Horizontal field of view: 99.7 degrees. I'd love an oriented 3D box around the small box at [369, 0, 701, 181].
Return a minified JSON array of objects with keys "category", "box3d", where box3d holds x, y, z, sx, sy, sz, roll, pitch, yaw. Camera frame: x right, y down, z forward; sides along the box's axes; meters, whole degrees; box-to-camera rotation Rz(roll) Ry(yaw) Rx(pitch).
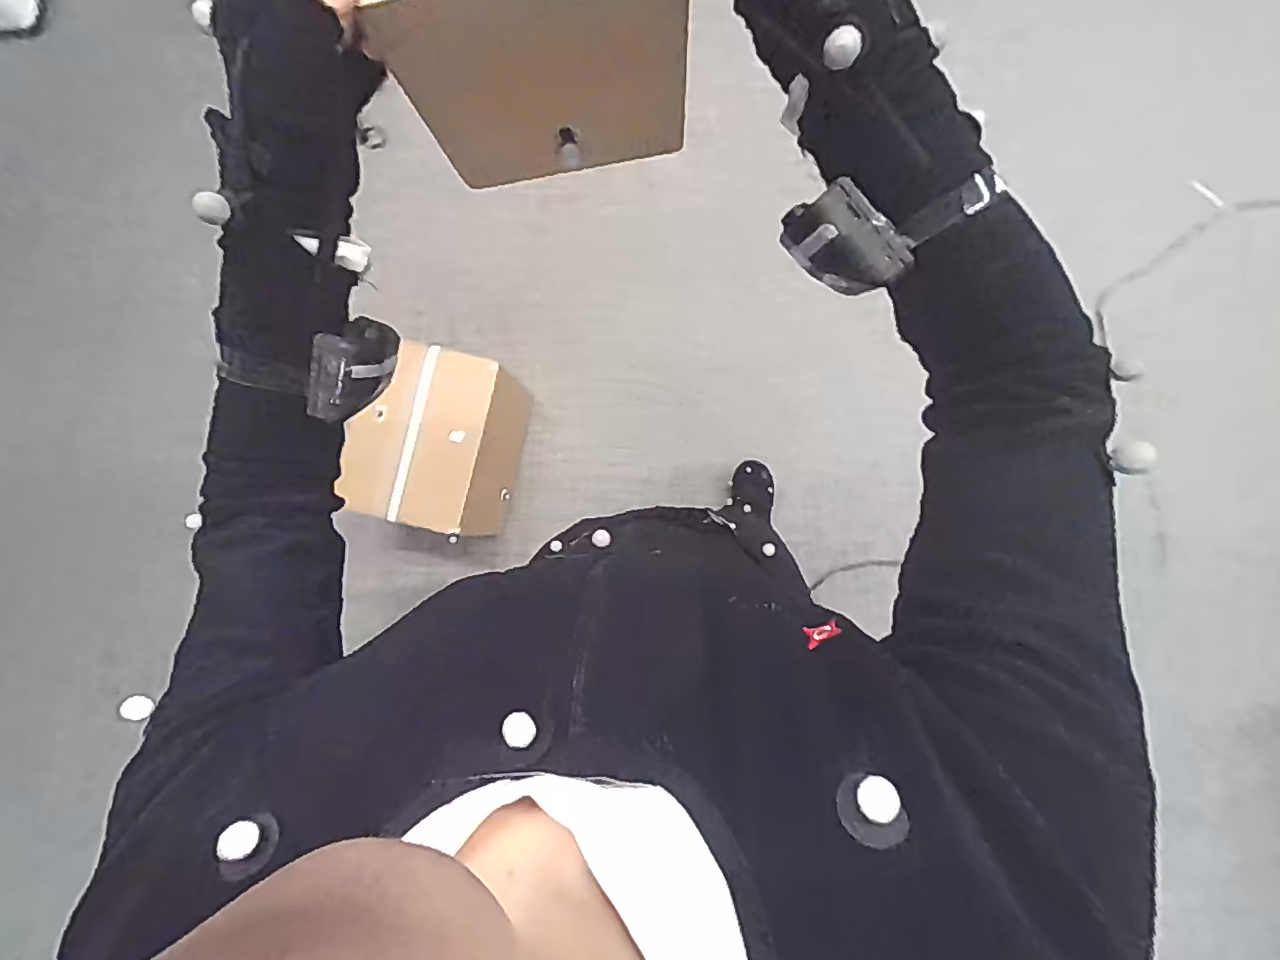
[{"category":"small box","box3d":[-0.059,-0.329,0.352,0.179,0.176,0.168,-8,87,2]}]
